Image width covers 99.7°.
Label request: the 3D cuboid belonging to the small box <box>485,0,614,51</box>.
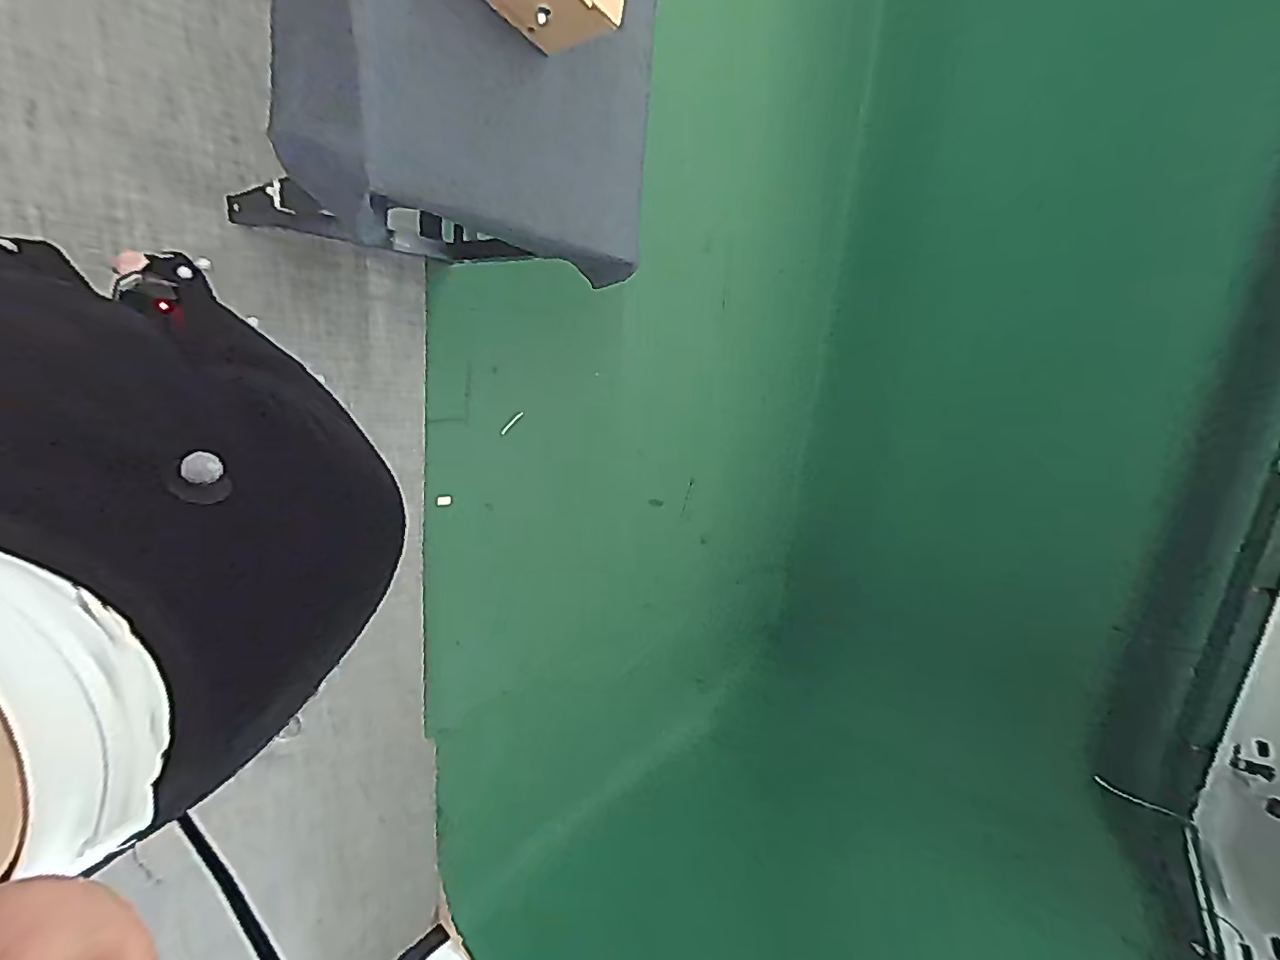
[{"bbox_3d":[-0.146,-0.826,0.848,0.168,0.176,0.179,2,101,-53],"label":"small box"}]

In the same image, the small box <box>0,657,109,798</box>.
[{"bbox_3d":[-1.234,0.501,1.120,0.168,0.176,0.179,-9,110,-53],"label":"small box"}]
